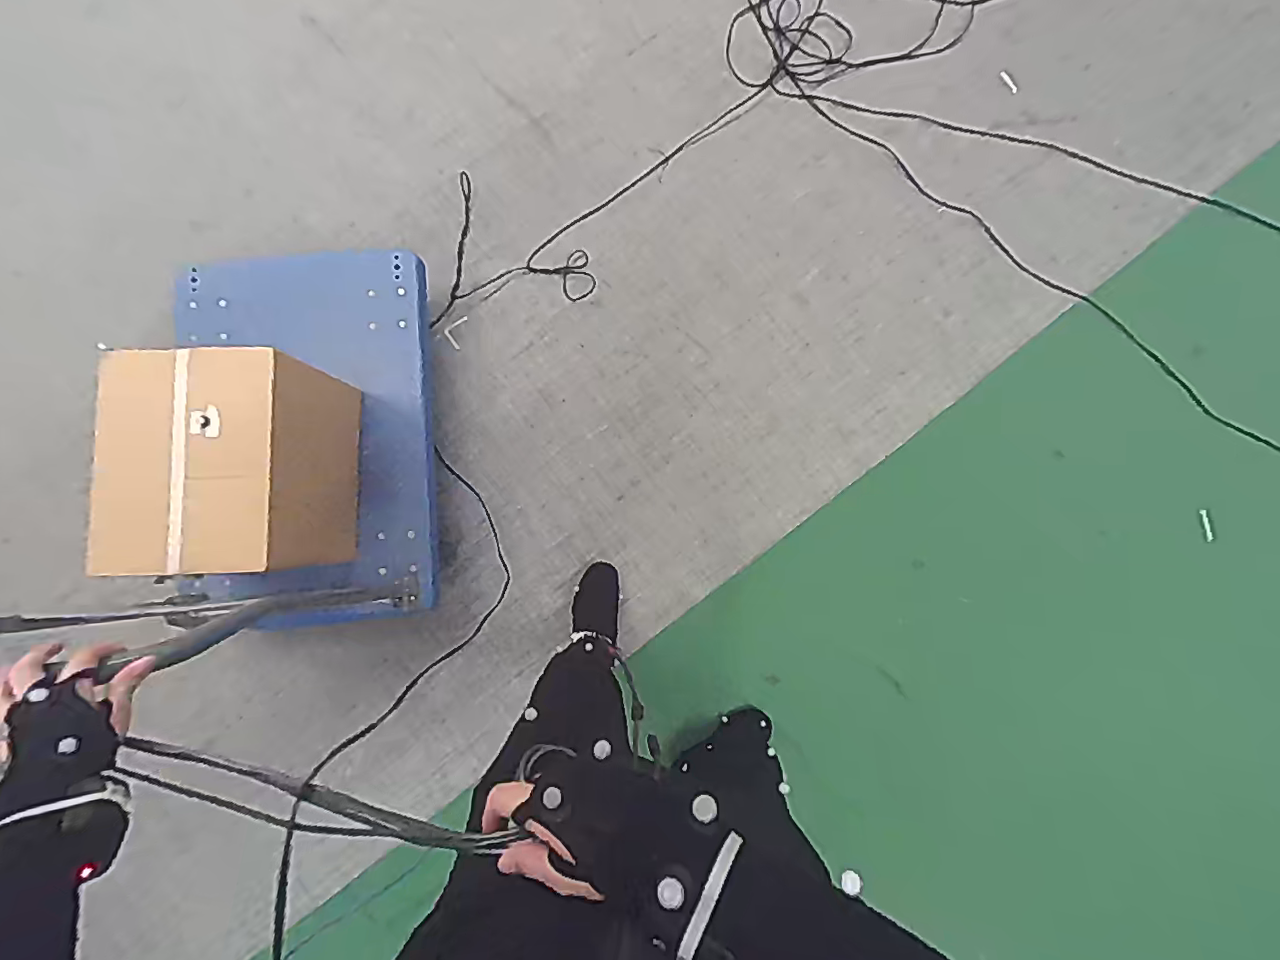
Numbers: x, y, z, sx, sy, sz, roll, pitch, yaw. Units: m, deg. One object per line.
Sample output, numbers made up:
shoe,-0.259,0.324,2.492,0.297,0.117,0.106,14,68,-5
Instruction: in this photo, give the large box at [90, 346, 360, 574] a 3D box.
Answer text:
large box,-0.796,-0.025,1.092,0.320,0.320,0.408,0,85,-1
